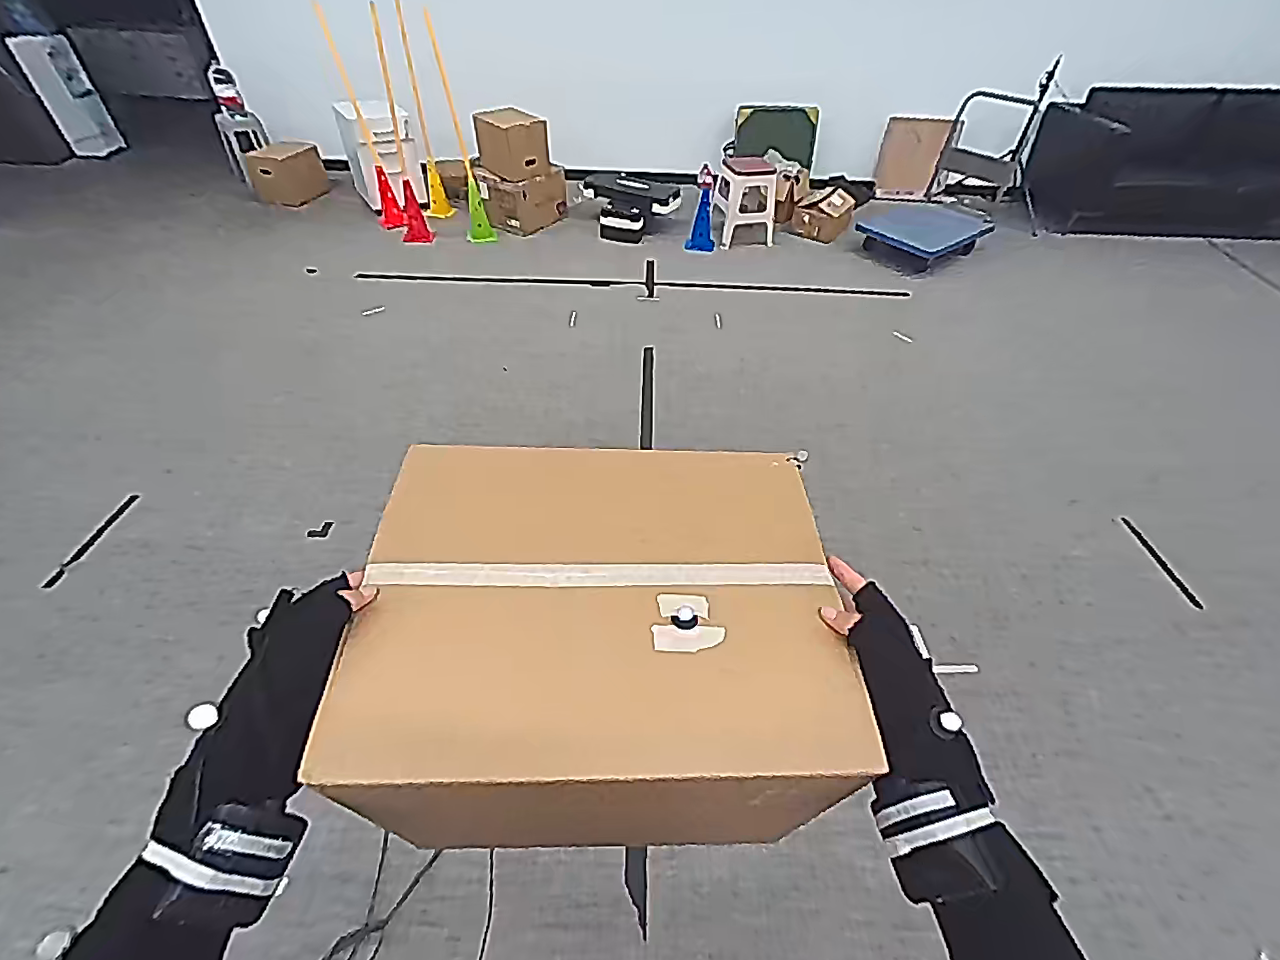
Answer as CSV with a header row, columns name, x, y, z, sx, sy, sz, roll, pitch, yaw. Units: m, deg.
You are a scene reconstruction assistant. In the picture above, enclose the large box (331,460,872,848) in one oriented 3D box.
name,x,y,z,sx,sy,sz,roll,pitch,yaw
large box,-0.037,0.193,0.599,0.408,0.320,0.320,1,49,-4
